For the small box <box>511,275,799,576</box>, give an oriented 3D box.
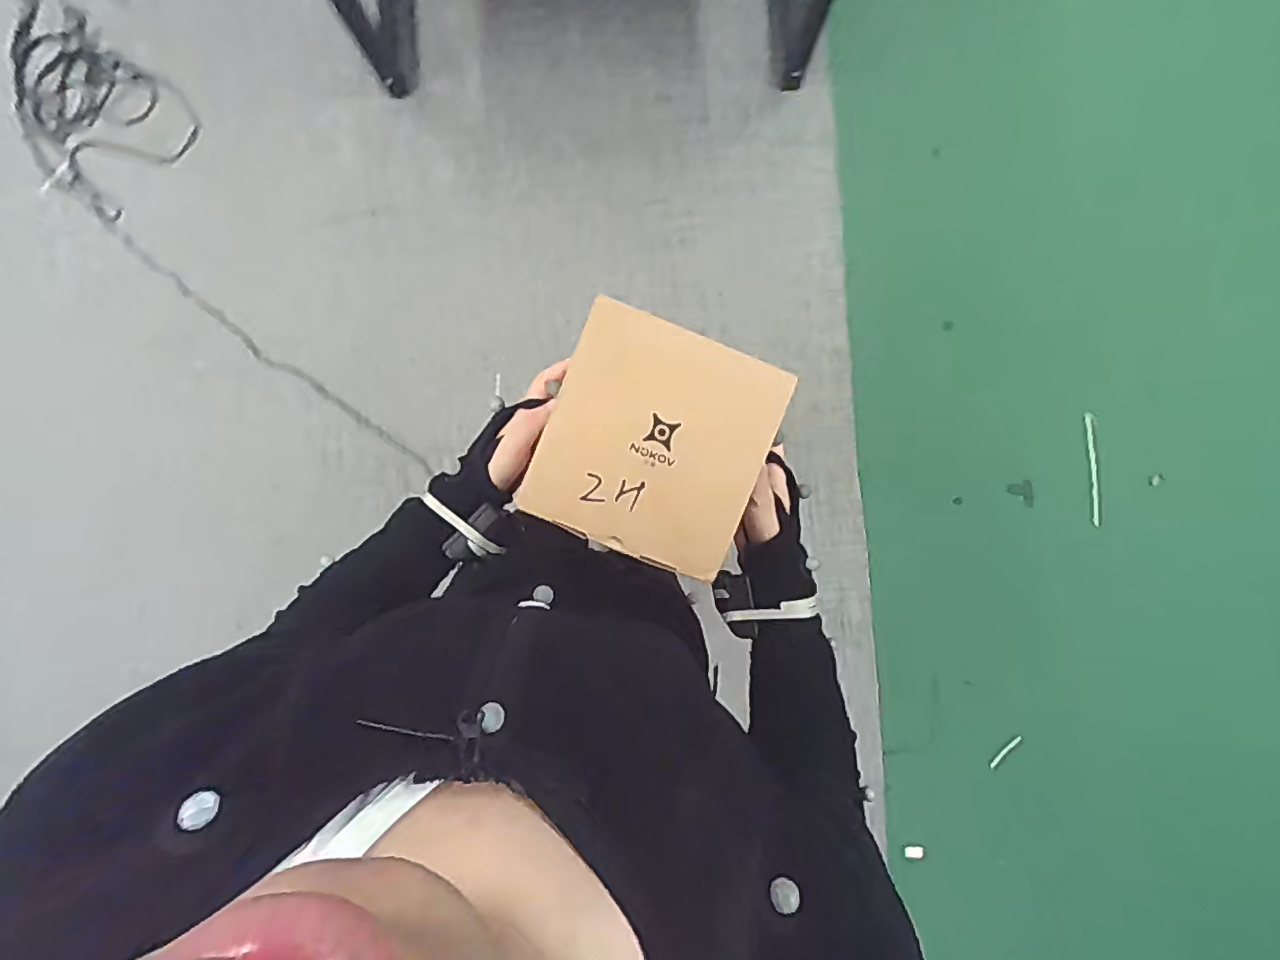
[{"bbox_3d":[0.008,-0.041,0.471,0.168,0.176,0.179,21,92,-2],"label":"small box"}]
